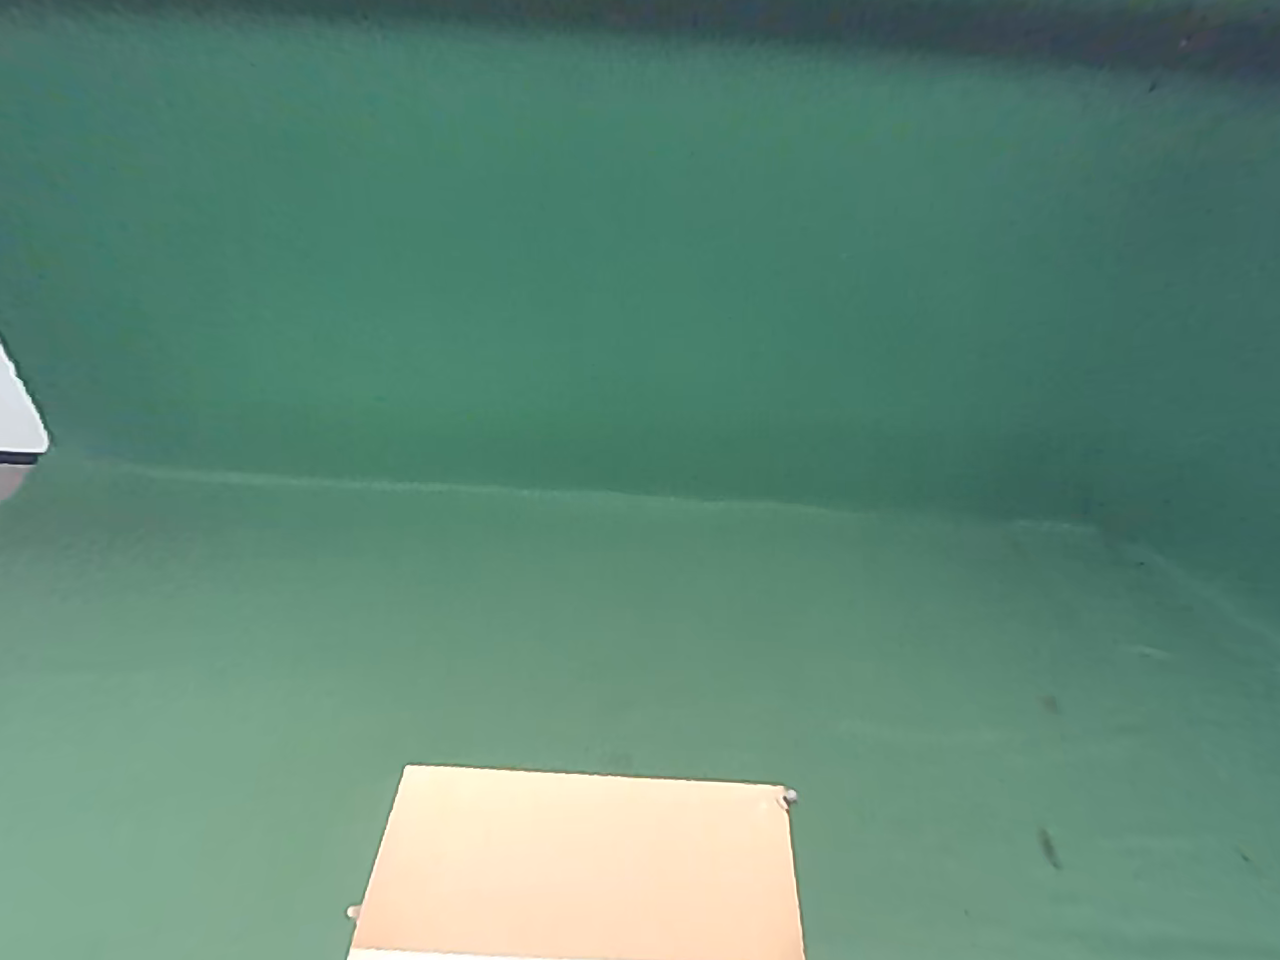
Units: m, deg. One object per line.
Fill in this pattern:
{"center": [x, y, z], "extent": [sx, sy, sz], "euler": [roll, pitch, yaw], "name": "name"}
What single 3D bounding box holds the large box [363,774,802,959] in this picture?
{"center": [-0.060, 0.537, 0.591], "extent": [0.408, 0.320, 0.320], "euler": [4, 49, -2], "name": "large box"}
